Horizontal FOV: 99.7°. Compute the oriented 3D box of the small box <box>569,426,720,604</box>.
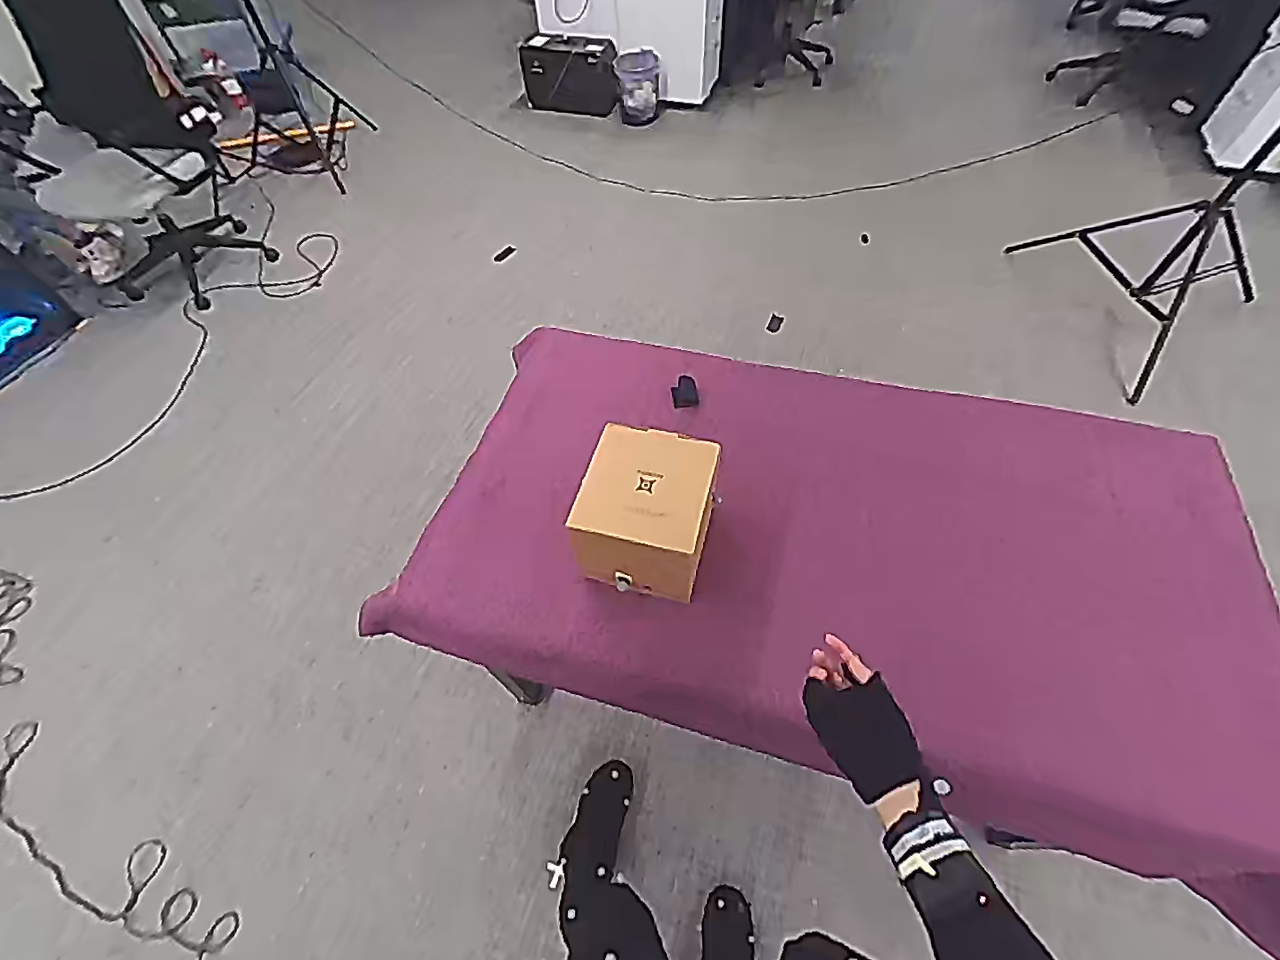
[{"bbox_3d":[0.013,0.052,0.773,0.168,0.176,0.179,11,57,11],"label":"small box"}]
